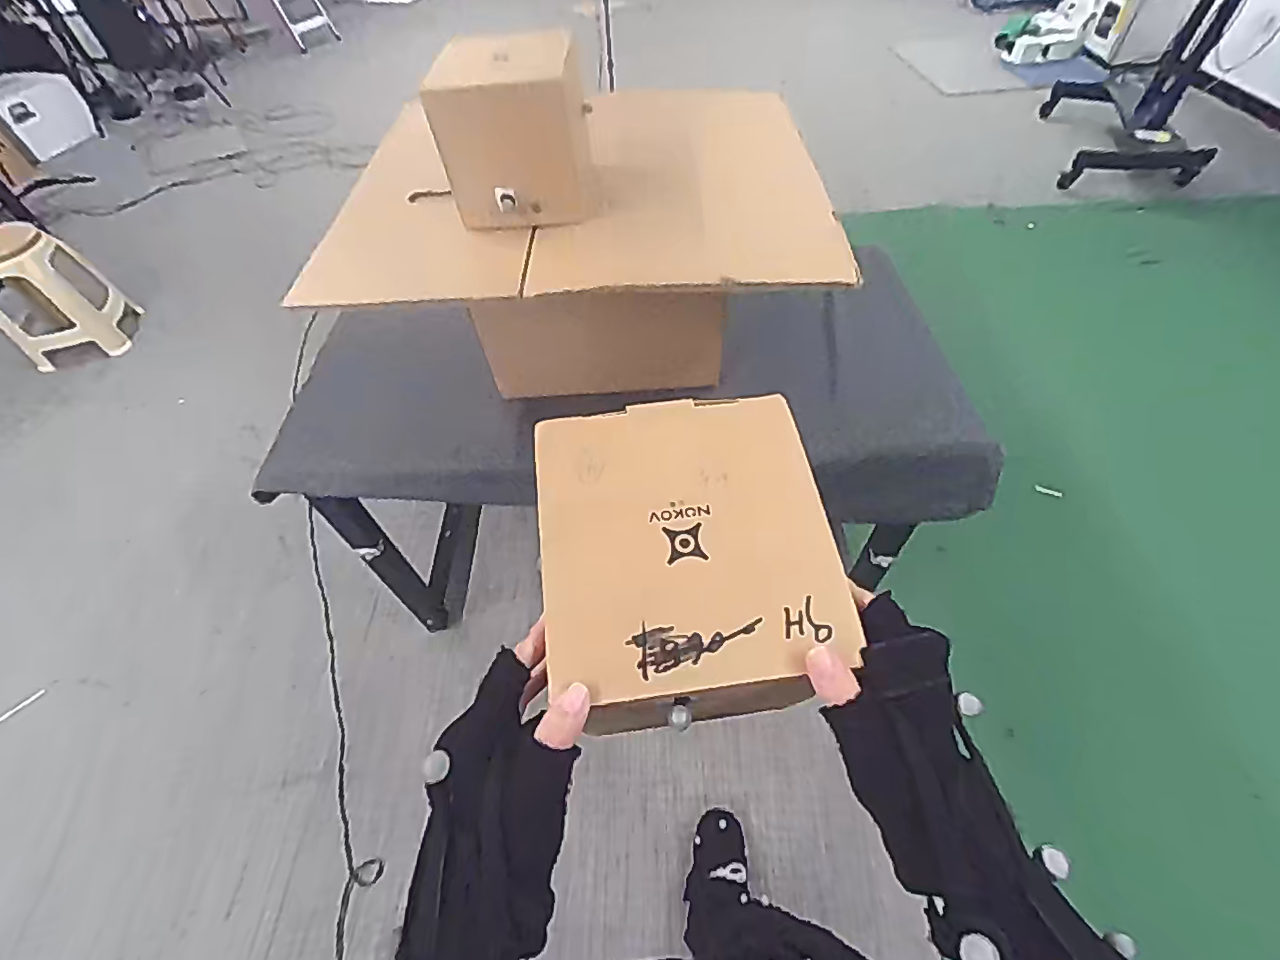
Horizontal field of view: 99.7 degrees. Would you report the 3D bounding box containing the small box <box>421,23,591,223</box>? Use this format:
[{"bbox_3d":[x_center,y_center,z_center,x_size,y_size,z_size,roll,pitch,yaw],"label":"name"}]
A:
[{"bbox_3d":[-0.159,-0.464,0.710,0.168,0.176,0.179,-3,55,3],"label":"small box"}]

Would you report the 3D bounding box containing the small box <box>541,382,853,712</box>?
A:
[{"bbox_3d":[0.024,0.056,0.392,0.168,0.176,0.179,-7,60,-3],"label":"small box"}]
